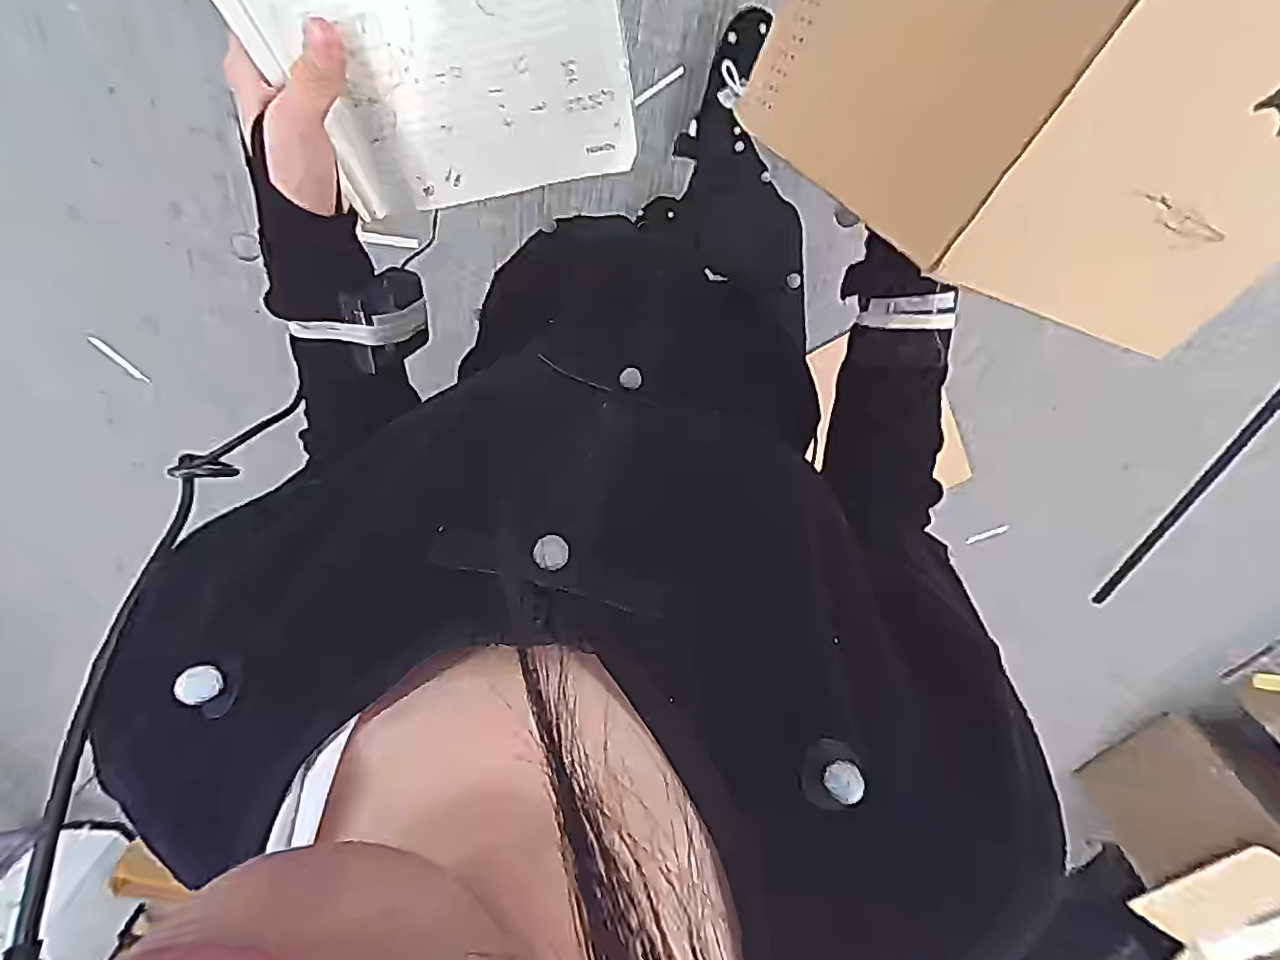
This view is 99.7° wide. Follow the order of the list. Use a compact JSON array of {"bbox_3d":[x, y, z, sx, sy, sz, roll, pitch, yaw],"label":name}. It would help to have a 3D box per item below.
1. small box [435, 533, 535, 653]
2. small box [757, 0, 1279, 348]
[{"bbox_3d":[-0.327,0.236,1.155,0.168,0.176,0.179,12,121,-5],"label":"small box"},{"bbox_3d":[0.173,-0.181,0.205,0.168,0.176,0.179,3,135,-27],"label":"small box"}]
